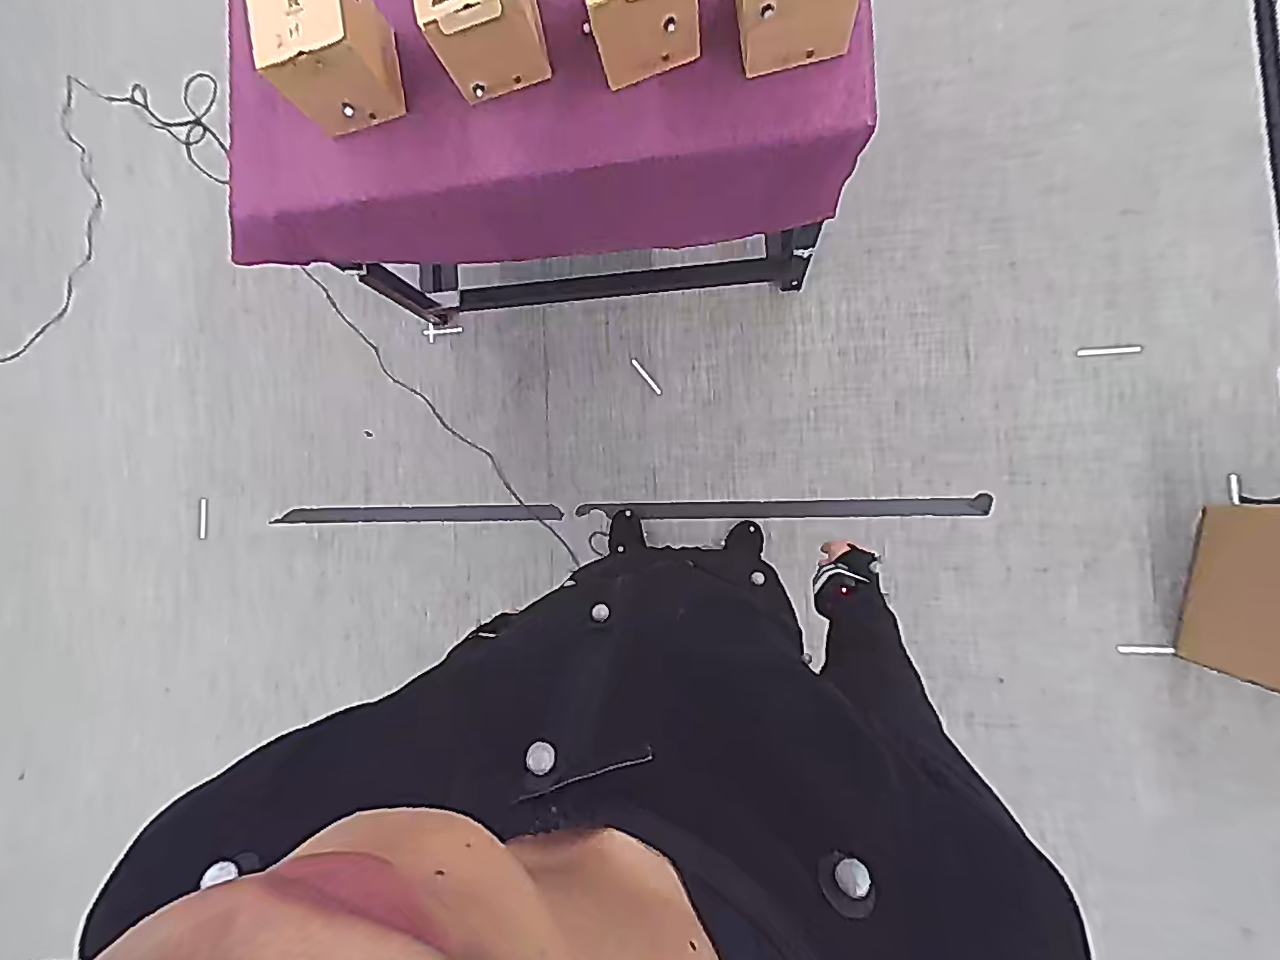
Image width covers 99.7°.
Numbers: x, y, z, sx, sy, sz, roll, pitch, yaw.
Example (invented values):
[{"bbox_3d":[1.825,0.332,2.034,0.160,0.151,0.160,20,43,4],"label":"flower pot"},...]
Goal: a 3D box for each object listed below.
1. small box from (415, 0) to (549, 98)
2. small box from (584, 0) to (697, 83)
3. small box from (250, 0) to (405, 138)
[{"bbox_3d":[-0.267,-0.794,0.917,0.168,0.176,0.179,-13,85,8],"label":"small box"},{"bbox_3d":[-0.008,-0.794,0.877,0.168,0.176,0.179,-15,84,8],"label":"small box"},{"bbox_3d":[-0.545,-0.758,0.959,0.168,0.176,0.179,-11,86,9],"label":"small box"}]
